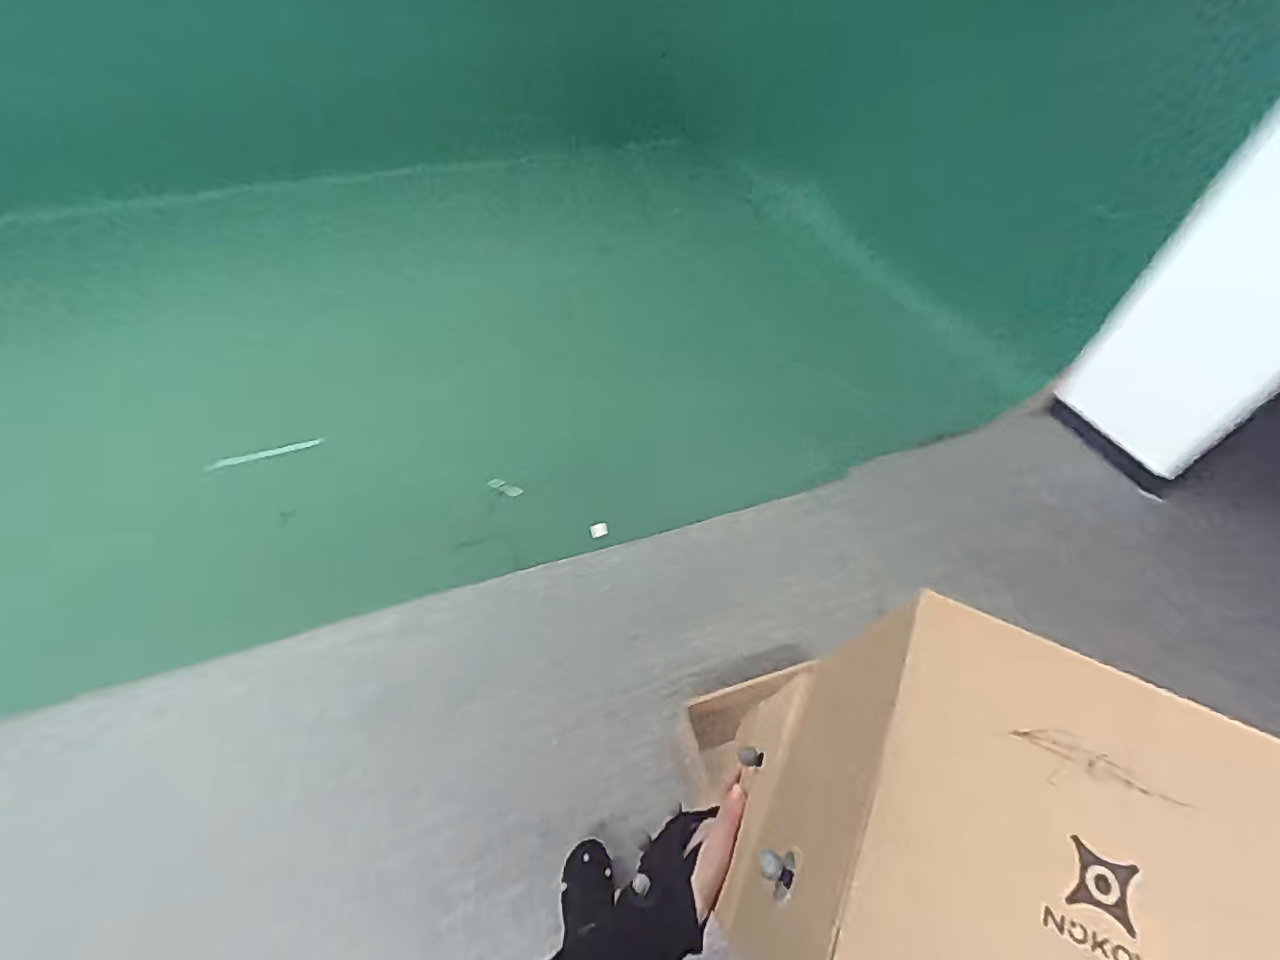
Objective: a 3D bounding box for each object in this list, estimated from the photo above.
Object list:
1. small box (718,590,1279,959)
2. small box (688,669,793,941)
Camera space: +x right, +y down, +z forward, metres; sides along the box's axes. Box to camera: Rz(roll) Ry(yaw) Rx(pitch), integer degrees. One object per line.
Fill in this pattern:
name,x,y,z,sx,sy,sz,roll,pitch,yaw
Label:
small box,0.146,0.187,0.260,0.168,0.176,0.179,24,63,12
small box,0.144,0.269,0.402,0.179,0.176,0.168,21,63,12
